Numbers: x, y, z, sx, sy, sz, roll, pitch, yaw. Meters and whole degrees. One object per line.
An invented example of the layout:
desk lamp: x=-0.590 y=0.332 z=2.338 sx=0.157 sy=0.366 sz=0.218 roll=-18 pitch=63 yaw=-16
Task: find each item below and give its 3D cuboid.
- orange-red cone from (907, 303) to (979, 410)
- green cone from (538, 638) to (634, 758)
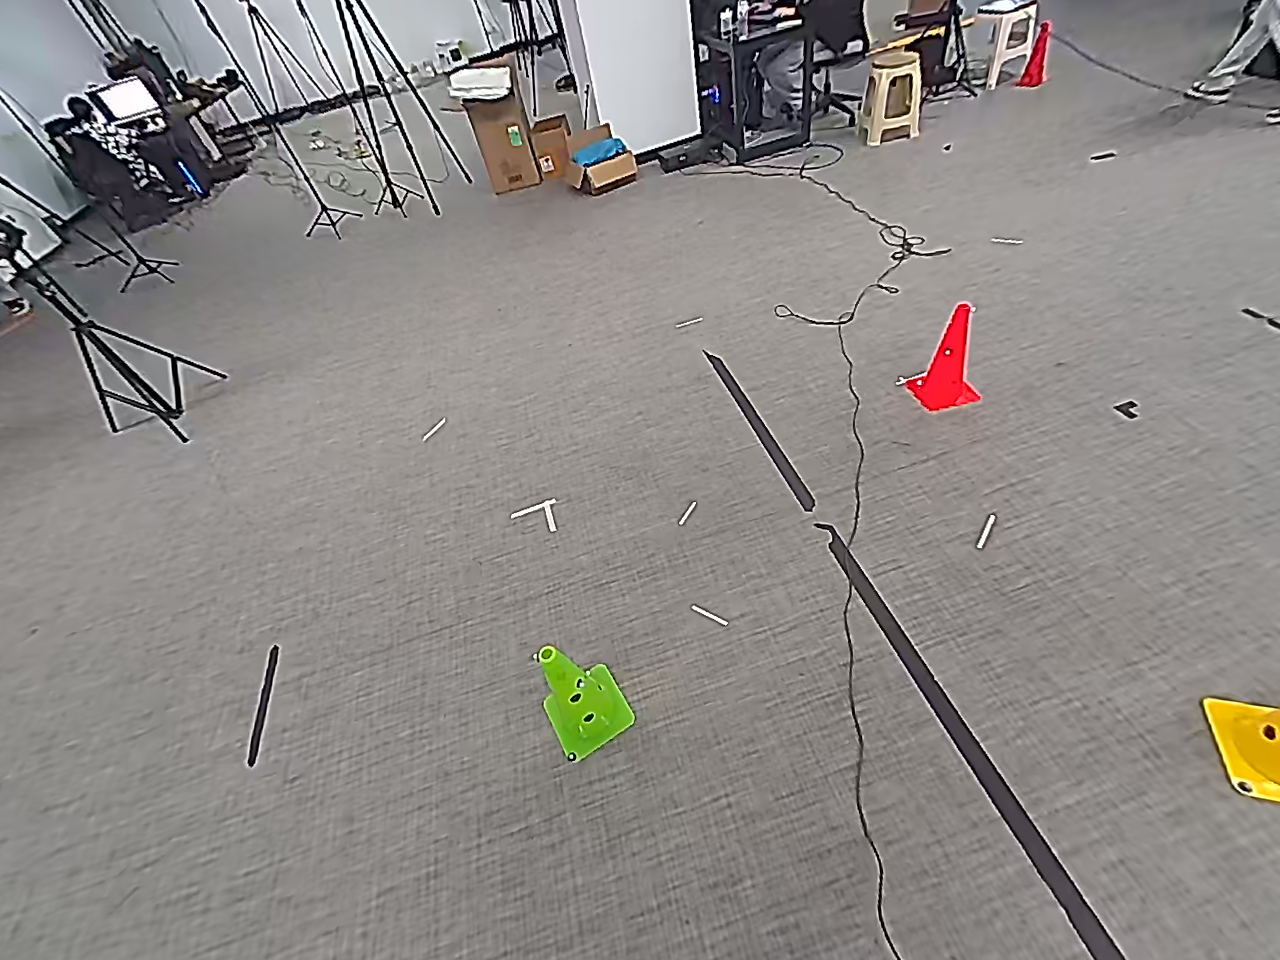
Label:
orange-red cone: x=1.103 y=-0.455 z=1.906 sx=0.198 sy=0.360 sz=0.199 roll=-13 pitch=47 yaw=3
green cone: x=-0.171 y=0.498 z=1.339 sx=0.200 sy=0.368 sz=0.202 roll=-29 pitch=46 yaw=-14
